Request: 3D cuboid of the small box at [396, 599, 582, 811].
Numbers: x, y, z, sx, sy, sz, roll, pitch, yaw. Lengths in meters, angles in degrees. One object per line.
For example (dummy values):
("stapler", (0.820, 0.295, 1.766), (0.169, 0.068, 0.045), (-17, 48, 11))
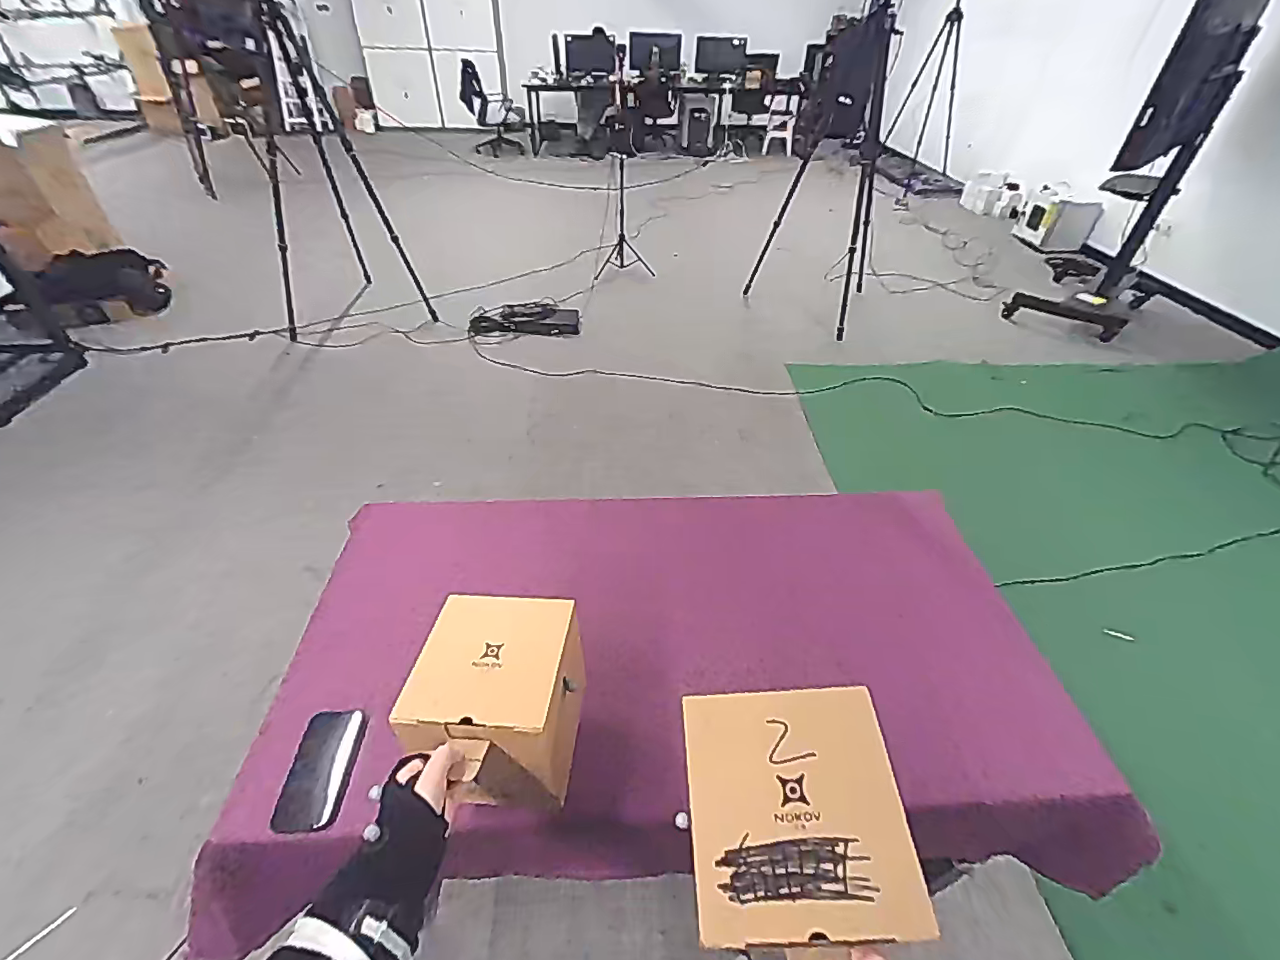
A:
("small box", (-0.168, 0.274, 0.672), (0.168, 0.176, 0.179), (2, 35, 5))
